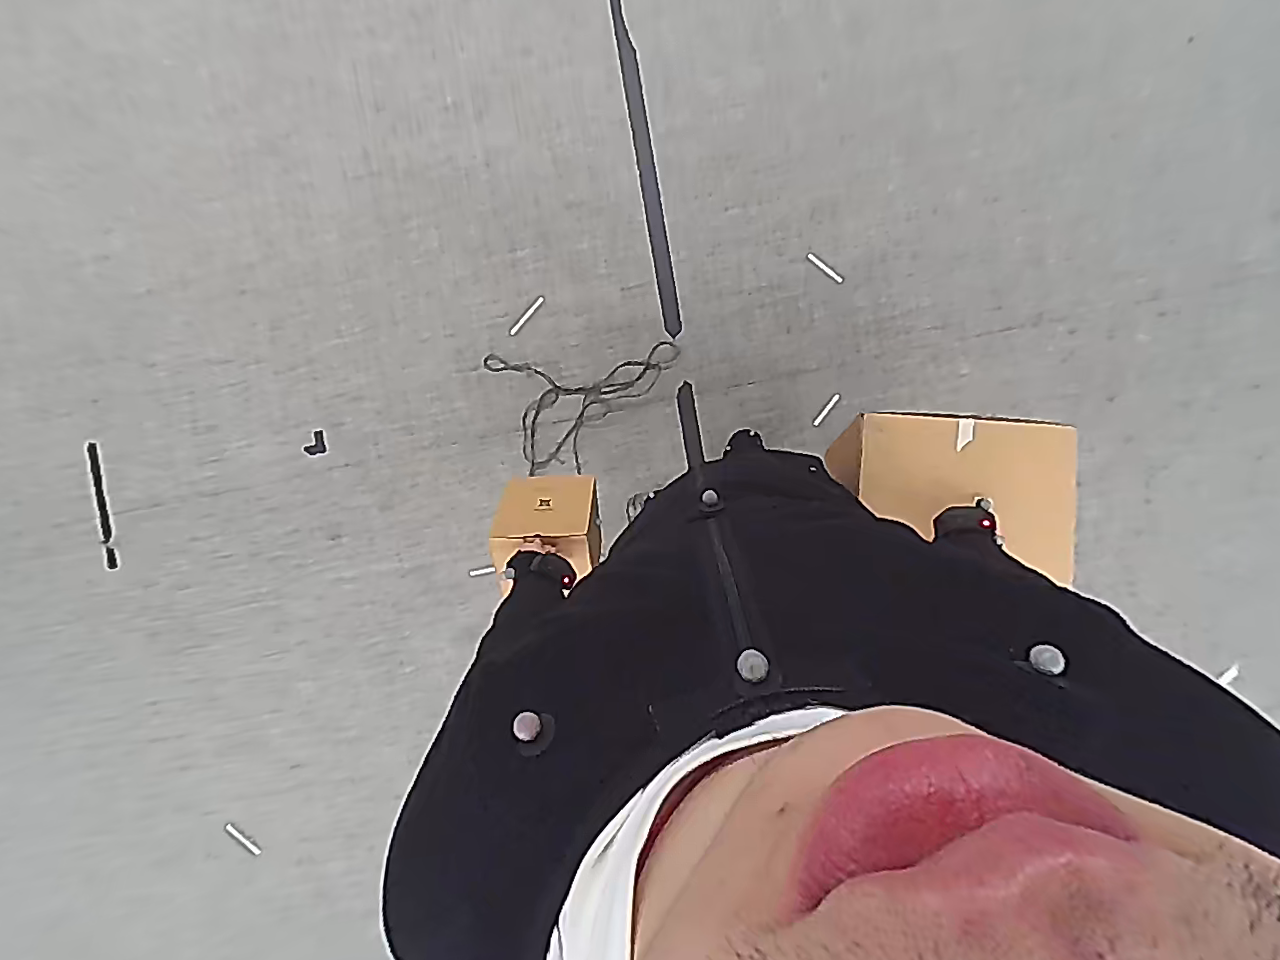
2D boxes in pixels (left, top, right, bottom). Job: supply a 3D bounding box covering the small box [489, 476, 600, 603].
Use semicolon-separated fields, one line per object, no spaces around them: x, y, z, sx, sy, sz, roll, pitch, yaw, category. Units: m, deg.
-0.164;0.111;0.997;0.168;0.179;0.176;-1;125;0;small box
